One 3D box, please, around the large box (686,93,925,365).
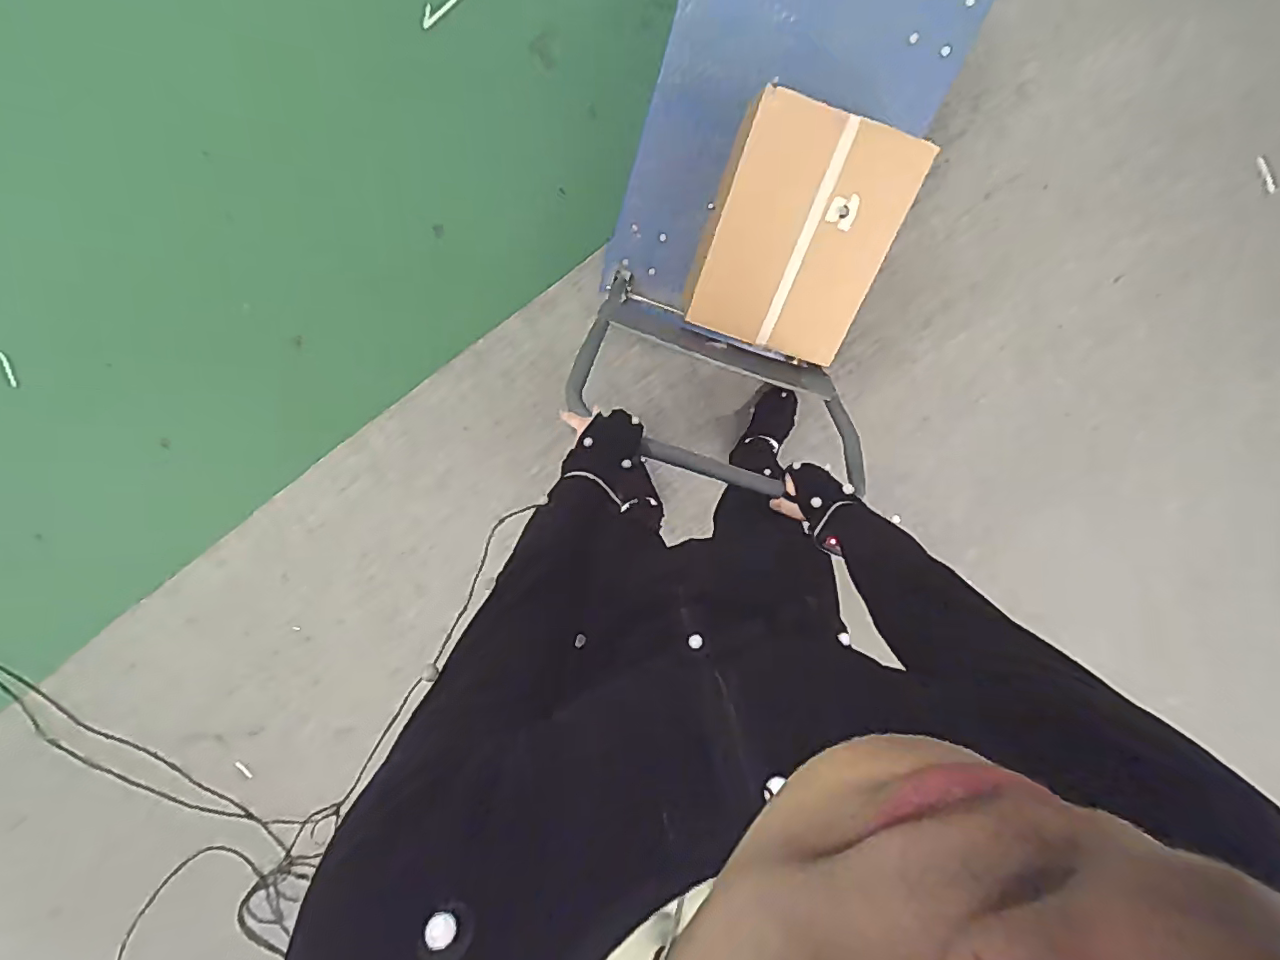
[{"bbox_3d":[0.303,-0.512,1.142,0.320,0.320,0.408,17,119,-6],"label":"large box"}]
